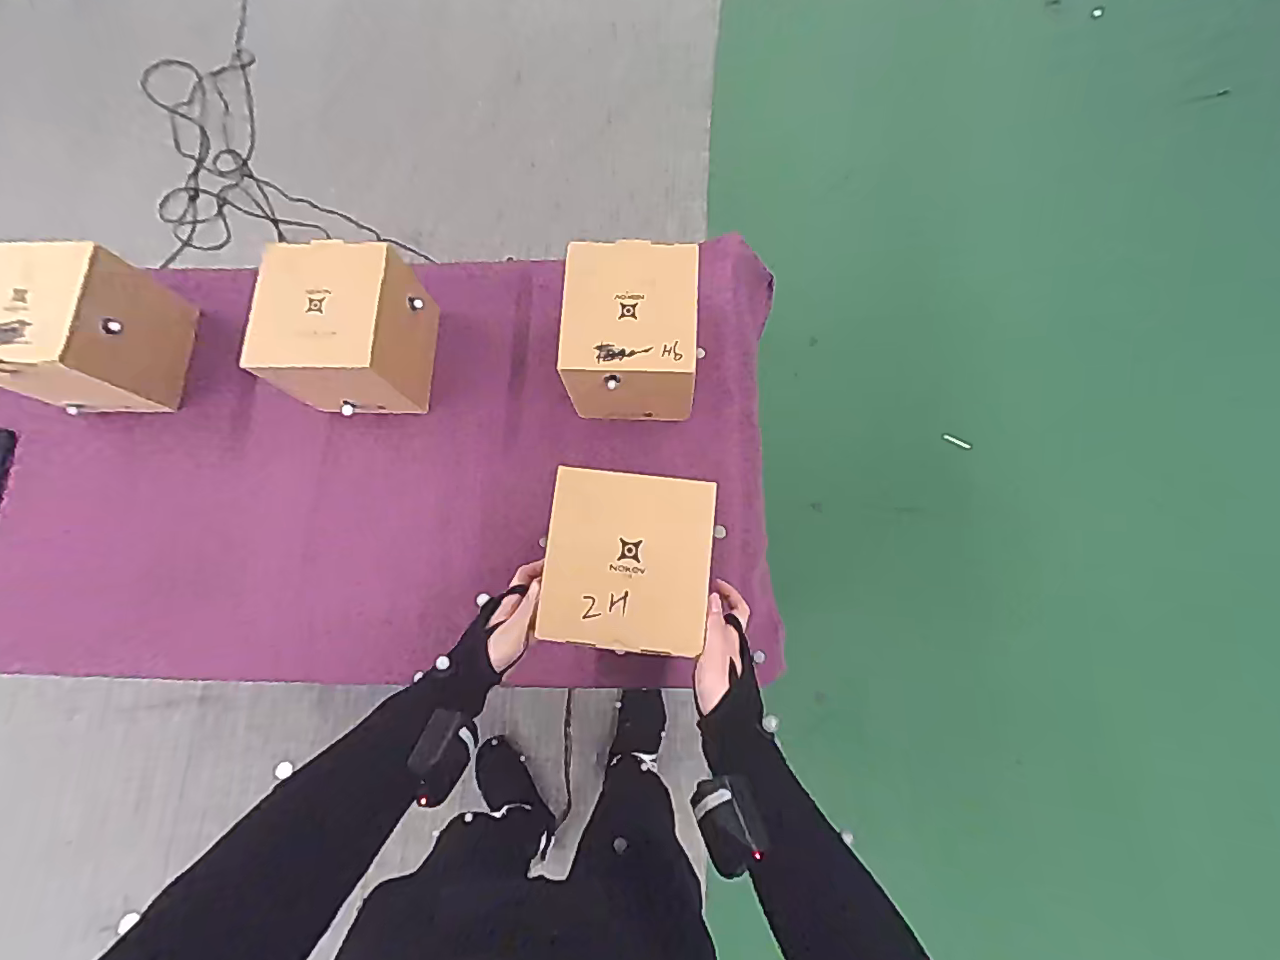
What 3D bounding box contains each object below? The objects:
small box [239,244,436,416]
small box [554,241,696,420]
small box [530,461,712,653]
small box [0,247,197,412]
[{"bbox_3d":[-0.403,-0.201,0.754,0.168,0.176,0.179,1,78,4],"label":"small box"},{"bbox_3d":[-0.013,-0.194,0.730,0.168,0.176,0.179,2,77,4],"label":"small box"},{"bbox_3d":[-0.016,0.090,0.615,0.168,0.176,0.179,6,79,2],"label":"small box"},{"bbox_3d":[-0.787,-0.203,0.771,0.168,0.176,0.179,0,76,3],"label":"small box"}]
